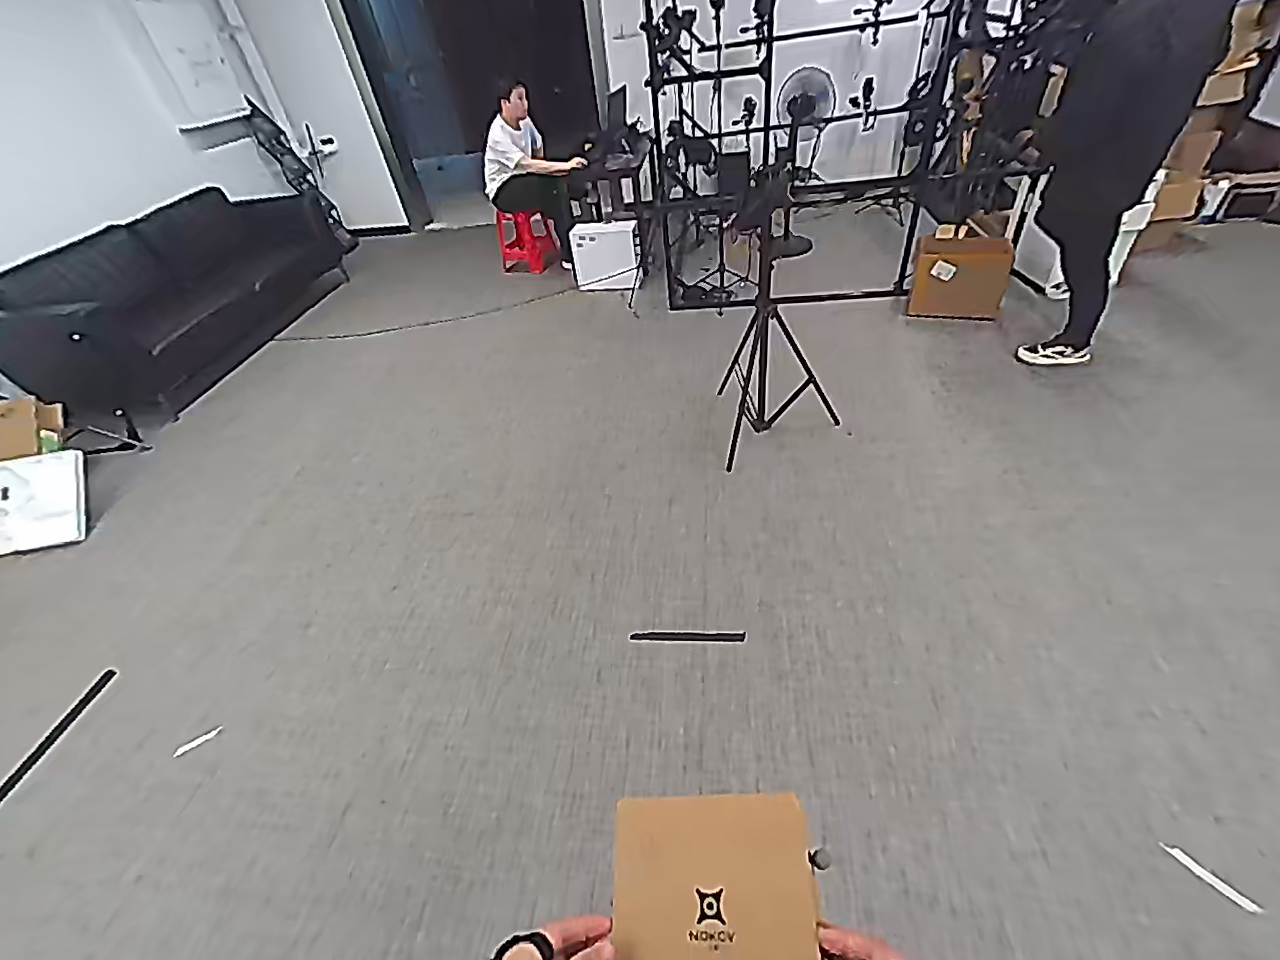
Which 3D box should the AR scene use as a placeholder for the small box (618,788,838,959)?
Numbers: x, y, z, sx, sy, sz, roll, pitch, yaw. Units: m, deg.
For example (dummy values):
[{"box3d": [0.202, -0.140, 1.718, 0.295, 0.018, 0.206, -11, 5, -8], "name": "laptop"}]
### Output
[{"box3d": [0.084, 0.393, 0.484, 0.168, 0.176, 0.179, -11, 49, 14], "name": "small box"}]
